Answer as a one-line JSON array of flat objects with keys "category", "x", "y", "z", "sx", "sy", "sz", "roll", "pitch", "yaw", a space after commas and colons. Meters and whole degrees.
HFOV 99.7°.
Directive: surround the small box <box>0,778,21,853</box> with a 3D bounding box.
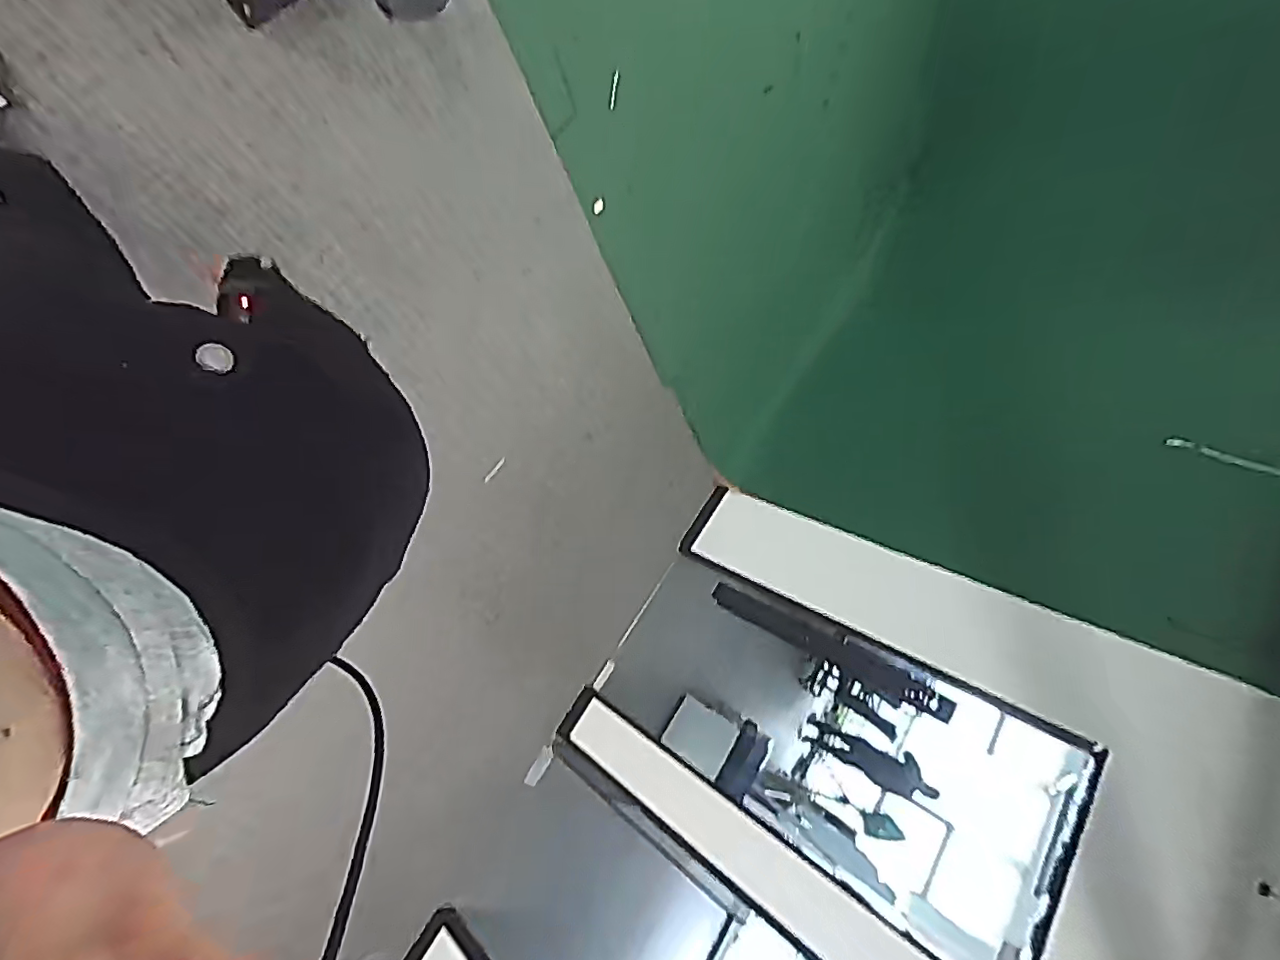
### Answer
[{"category": "small box", "x": -1.456, "y": 0.740, "z": 1.117, "sx": 0.179, "sy": 0.176, "sz": 0.168, "roll": -55, "pitch": 142, "yaw": -18}]
